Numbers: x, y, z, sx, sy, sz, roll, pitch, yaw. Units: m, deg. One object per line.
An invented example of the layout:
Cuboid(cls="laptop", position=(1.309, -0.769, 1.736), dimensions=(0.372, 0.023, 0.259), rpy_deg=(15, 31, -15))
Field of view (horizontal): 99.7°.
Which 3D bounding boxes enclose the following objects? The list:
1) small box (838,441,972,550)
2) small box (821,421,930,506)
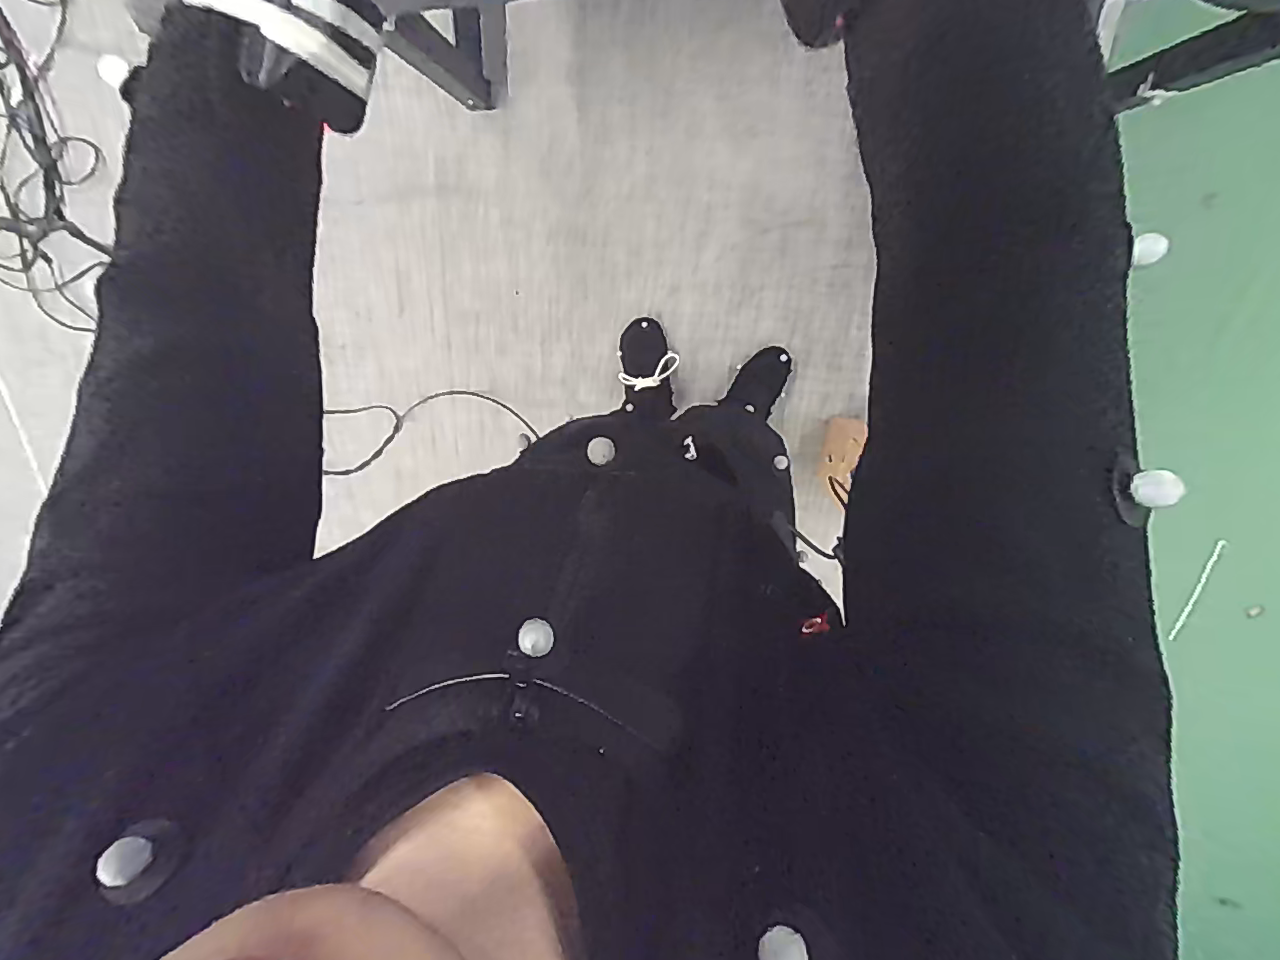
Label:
Cuboid(cls="small box", position=(0.534, 0.027, 1.118), dimensions=(0.179, 0.176, 0.168), rpy_deg=(6, 112, 1))
Cuboid(cls="small box", position=(0.540, -0.036, 1.270), dimensions=(0.179, 0.176, 0.168), rpy_deg=(5, 112, 2))
